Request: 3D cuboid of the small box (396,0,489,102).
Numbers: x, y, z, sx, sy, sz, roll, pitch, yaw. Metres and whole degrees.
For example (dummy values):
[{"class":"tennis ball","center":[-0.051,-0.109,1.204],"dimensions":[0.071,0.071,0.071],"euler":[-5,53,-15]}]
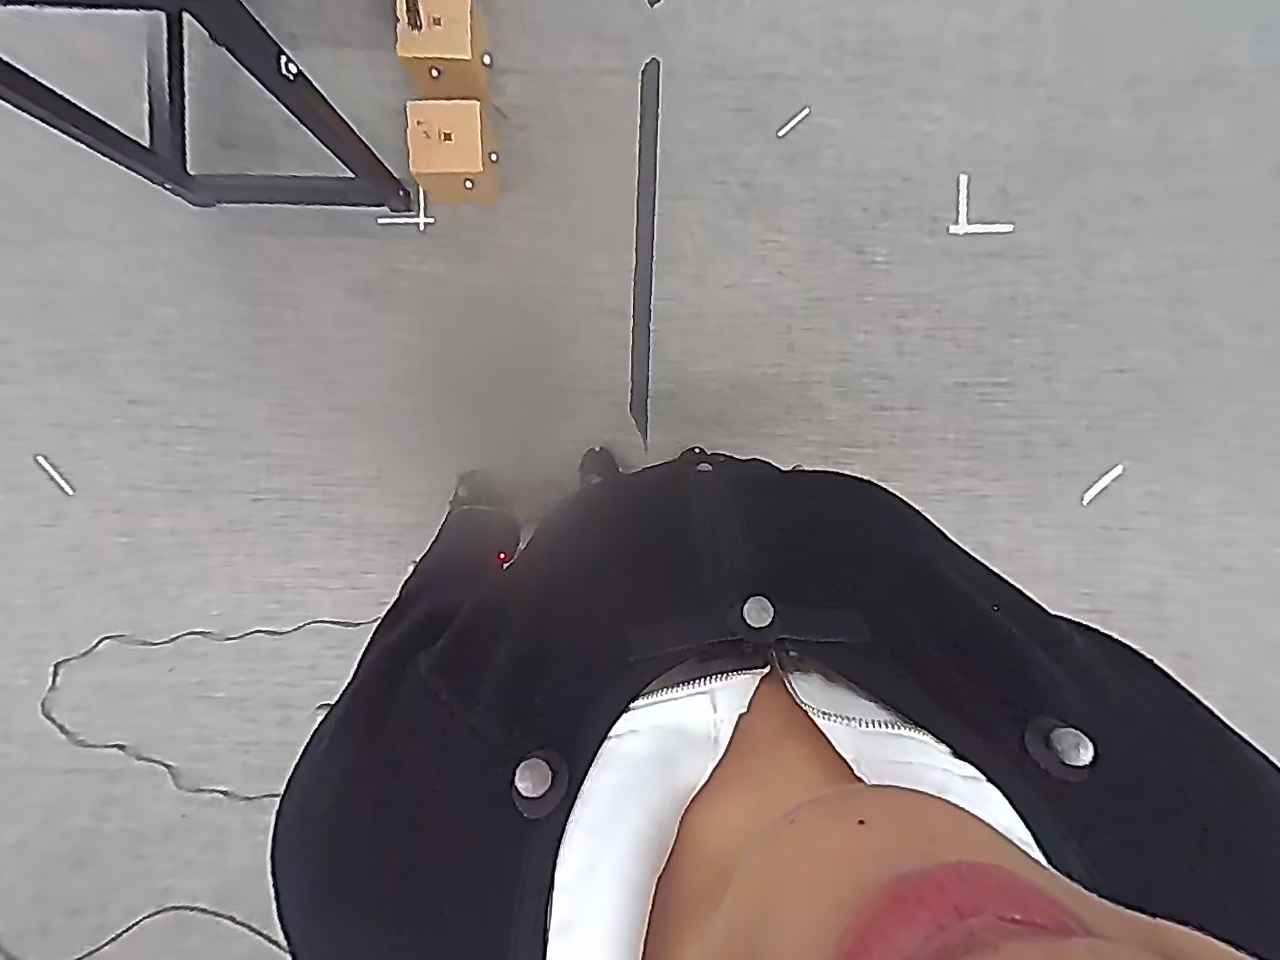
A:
[{"class":"small box","center":[-0.487,-1.078,1.348],"dimensions":[0.179,0.176,0.168],"euler":[0,94,-2]}]
